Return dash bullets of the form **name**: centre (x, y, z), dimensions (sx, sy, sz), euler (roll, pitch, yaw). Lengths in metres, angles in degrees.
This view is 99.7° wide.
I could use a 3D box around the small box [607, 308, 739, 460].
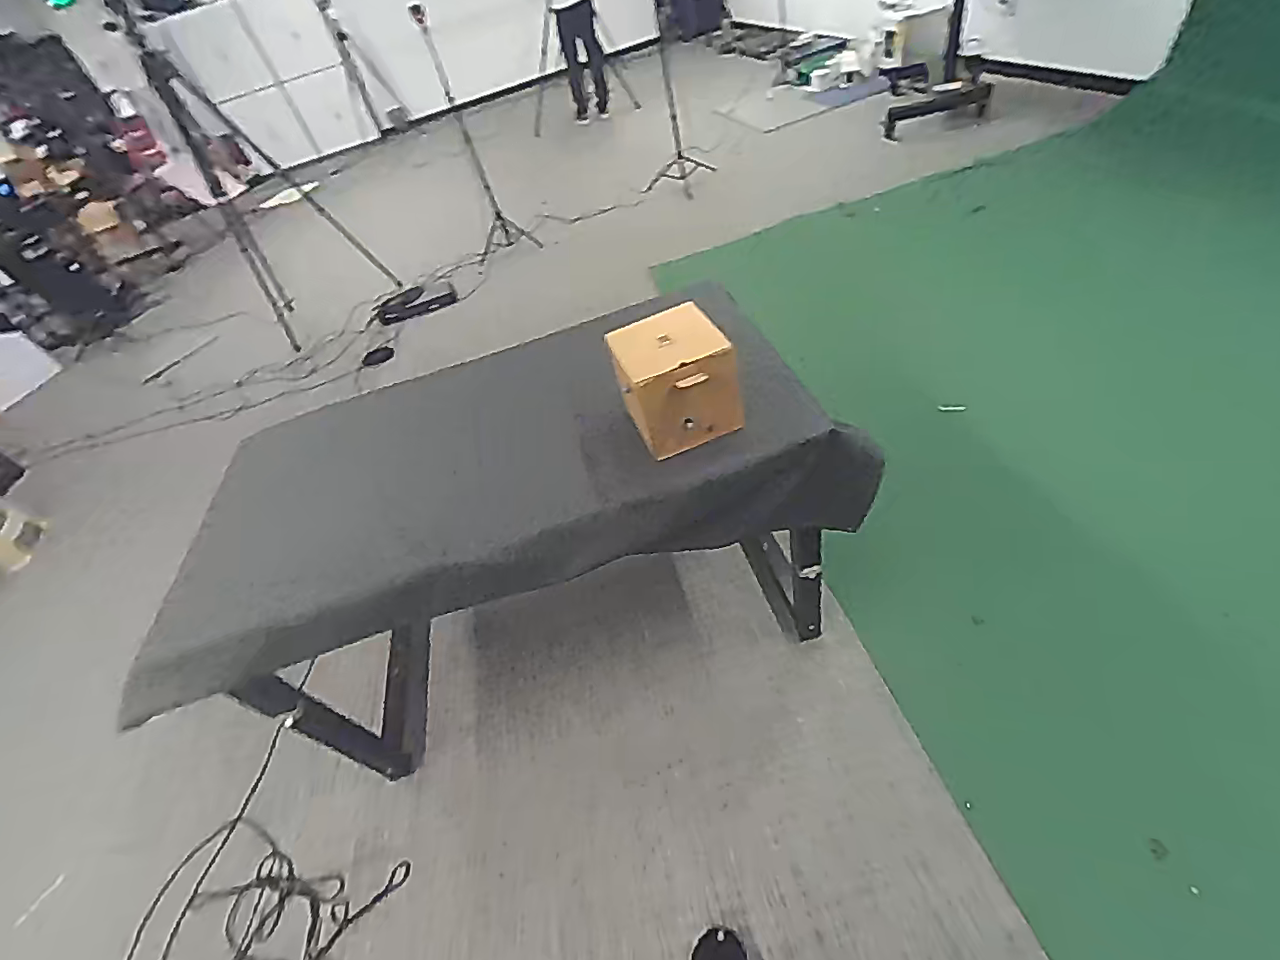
- **small box**: centre (0.058, -0.165, 0.938), dimensions (0.168, 0.176, 0.179), euler (-22, 44, -4)
